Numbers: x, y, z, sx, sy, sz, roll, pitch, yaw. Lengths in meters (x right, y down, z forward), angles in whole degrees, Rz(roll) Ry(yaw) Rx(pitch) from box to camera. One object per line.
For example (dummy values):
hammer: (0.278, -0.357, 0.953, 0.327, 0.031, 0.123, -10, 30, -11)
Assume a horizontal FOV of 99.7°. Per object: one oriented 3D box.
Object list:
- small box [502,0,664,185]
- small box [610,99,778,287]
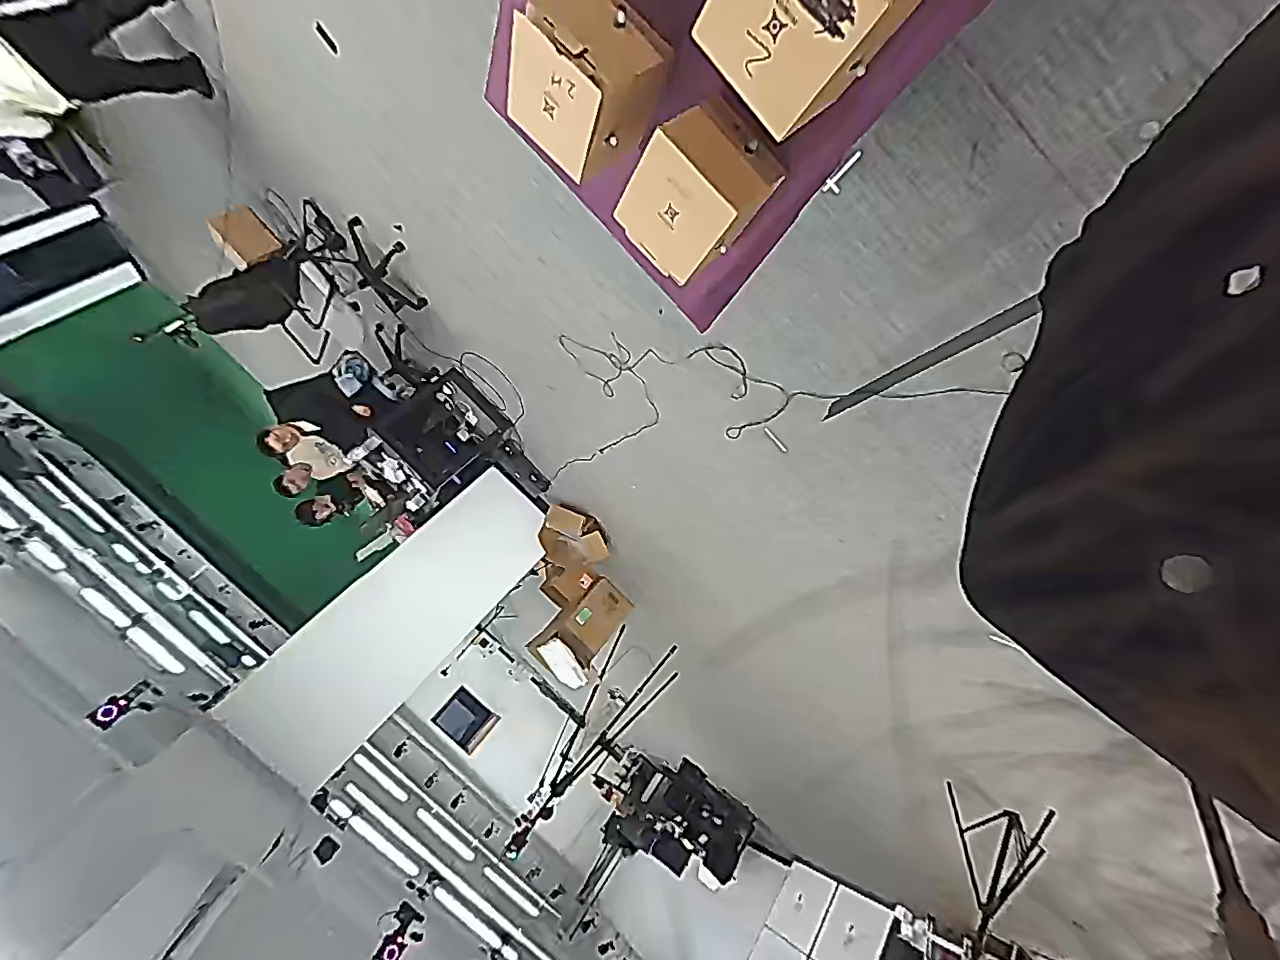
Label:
small box: (-0.090, -0.621, 0.856, 0.168, 0.176, 0.179, 43, 150, -4)
small box: (0.087, -0.456, 0.868, 0.168, 0.176, 0.179, 45, 150, -6)
